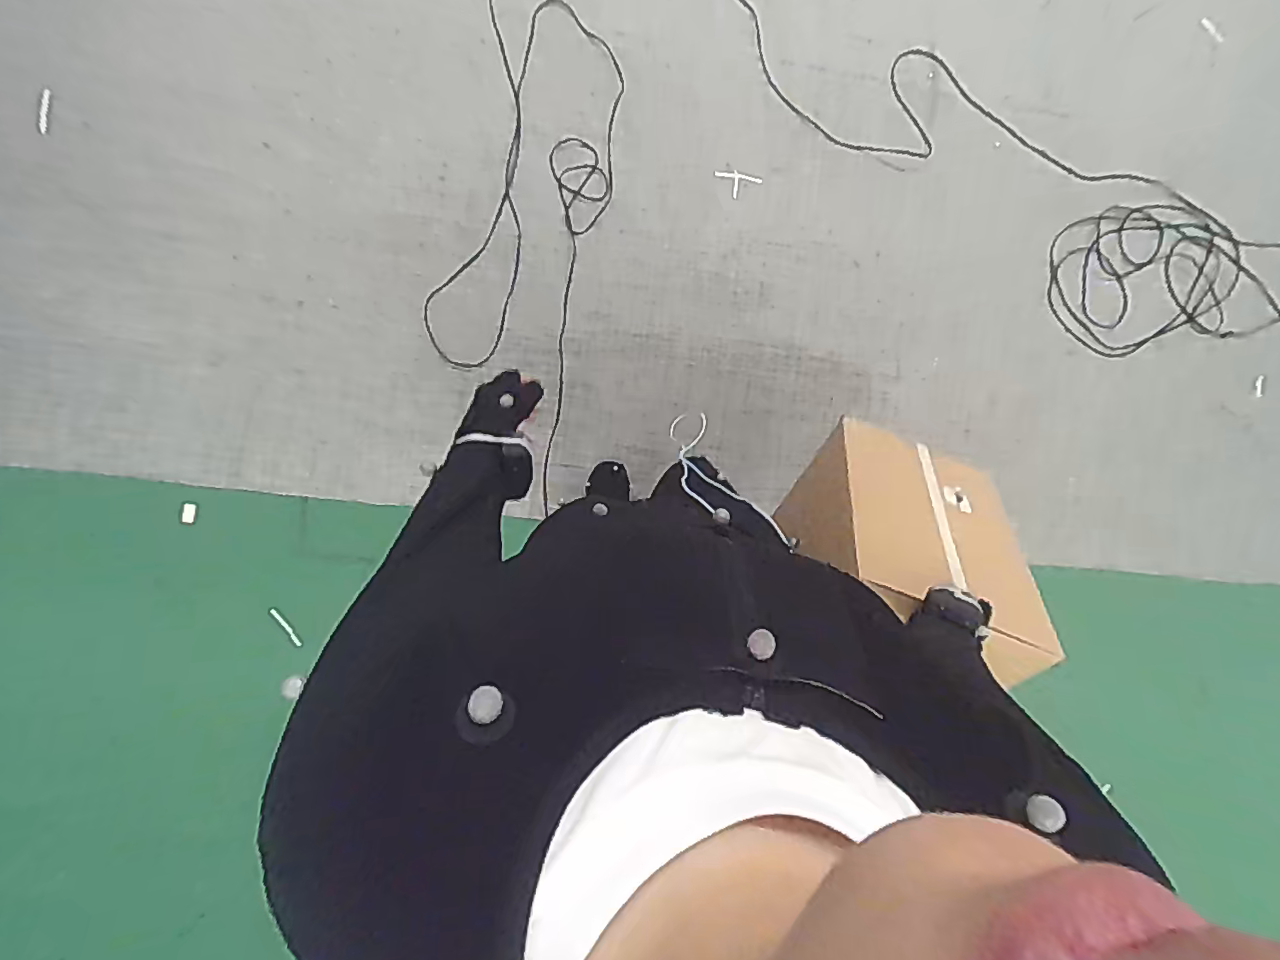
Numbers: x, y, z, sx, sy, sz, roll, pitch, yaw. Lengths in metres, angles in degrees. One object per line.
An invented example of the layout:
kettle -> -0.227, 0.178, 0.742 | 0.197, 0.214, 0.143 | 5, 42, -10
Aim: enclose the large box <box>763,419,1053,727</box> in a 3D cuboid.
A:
large box -> 0.436, 0.164, 0.993 | 0.320, 0.408, 0.320 | 22, 132, -3
